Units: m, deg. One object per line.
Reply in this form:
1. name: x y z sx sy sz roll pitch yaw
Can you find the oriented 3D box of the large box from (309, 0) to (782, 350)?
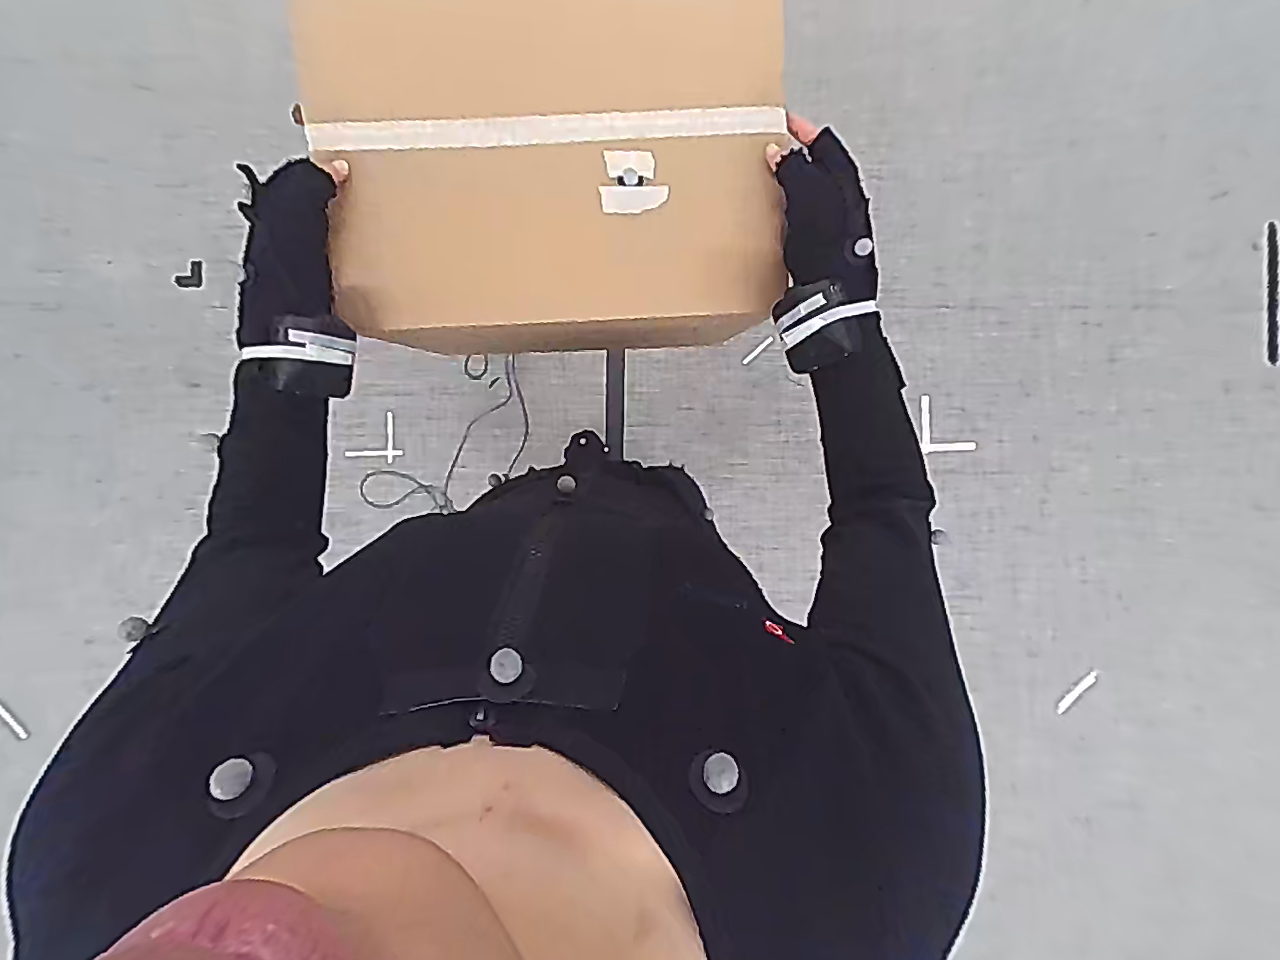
1. large box: -0.083 -0.331 0.623 0.408 0.320 0.320 -3 100 -2
